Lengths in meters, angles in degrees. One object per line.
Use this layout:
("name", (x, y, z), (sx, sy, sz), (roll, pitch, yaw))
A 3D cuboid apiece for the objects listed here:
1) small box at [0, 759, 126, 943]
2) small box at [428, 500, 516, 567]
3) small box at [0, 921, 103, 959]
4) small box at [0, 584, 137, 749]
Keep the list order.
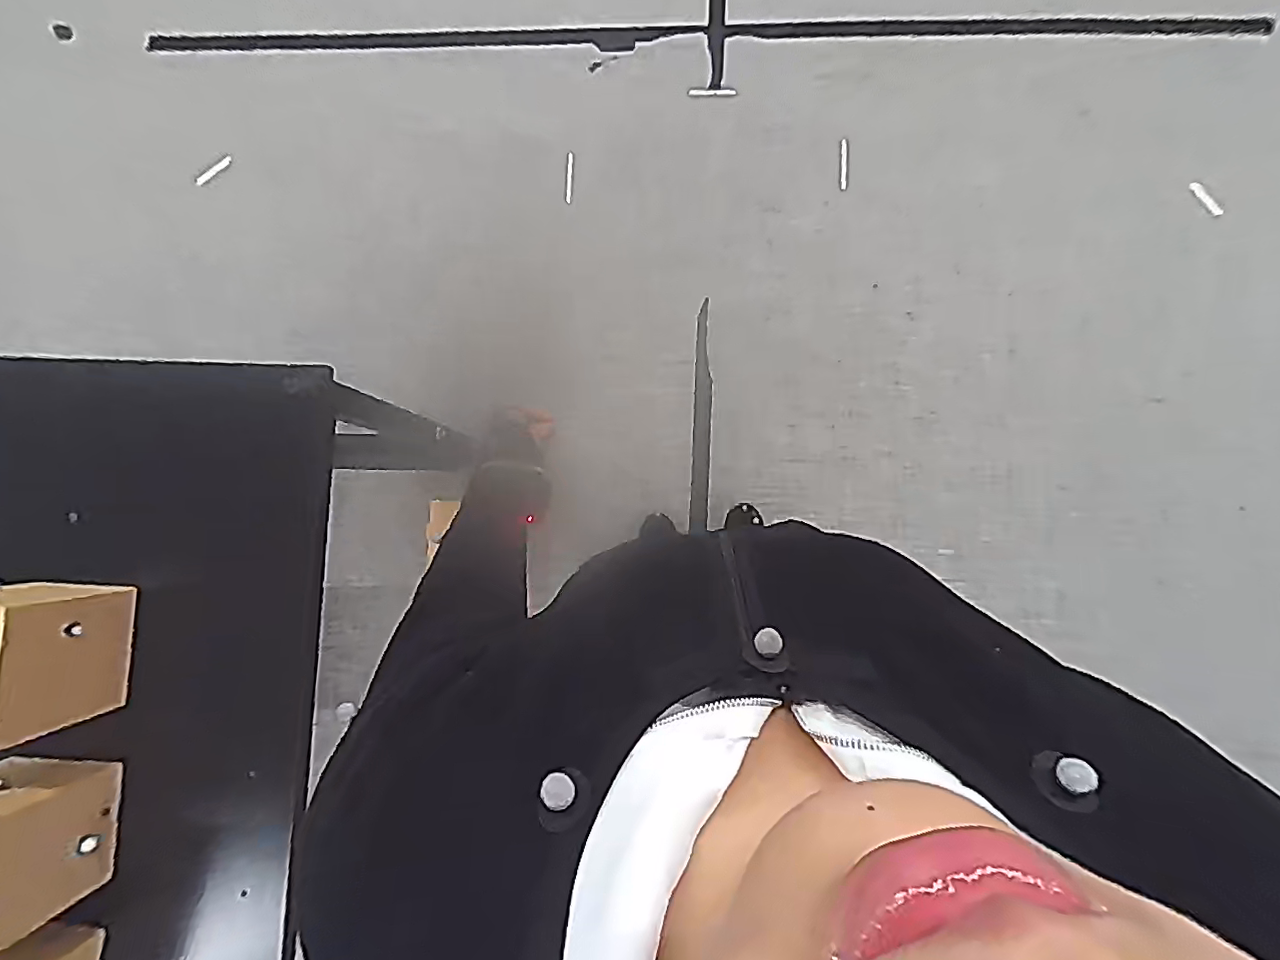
("small box", (-0.847, 0.487, 0.711), (0.179, 0.176, 0.168), (1, 86, 2))
("small box", (-0.446, 0.142, 1.451), (0.179, 0.176, 0.168), (1, 87, 3))
("small box", (-0.860, 0.710, 0.694), (0.179, 0.176, 0.168), (5, 85, 3))
("small box", (-0.839, 0.239, 0.731), (0.168, 0.176, 0.179), (2, 87, 4))
